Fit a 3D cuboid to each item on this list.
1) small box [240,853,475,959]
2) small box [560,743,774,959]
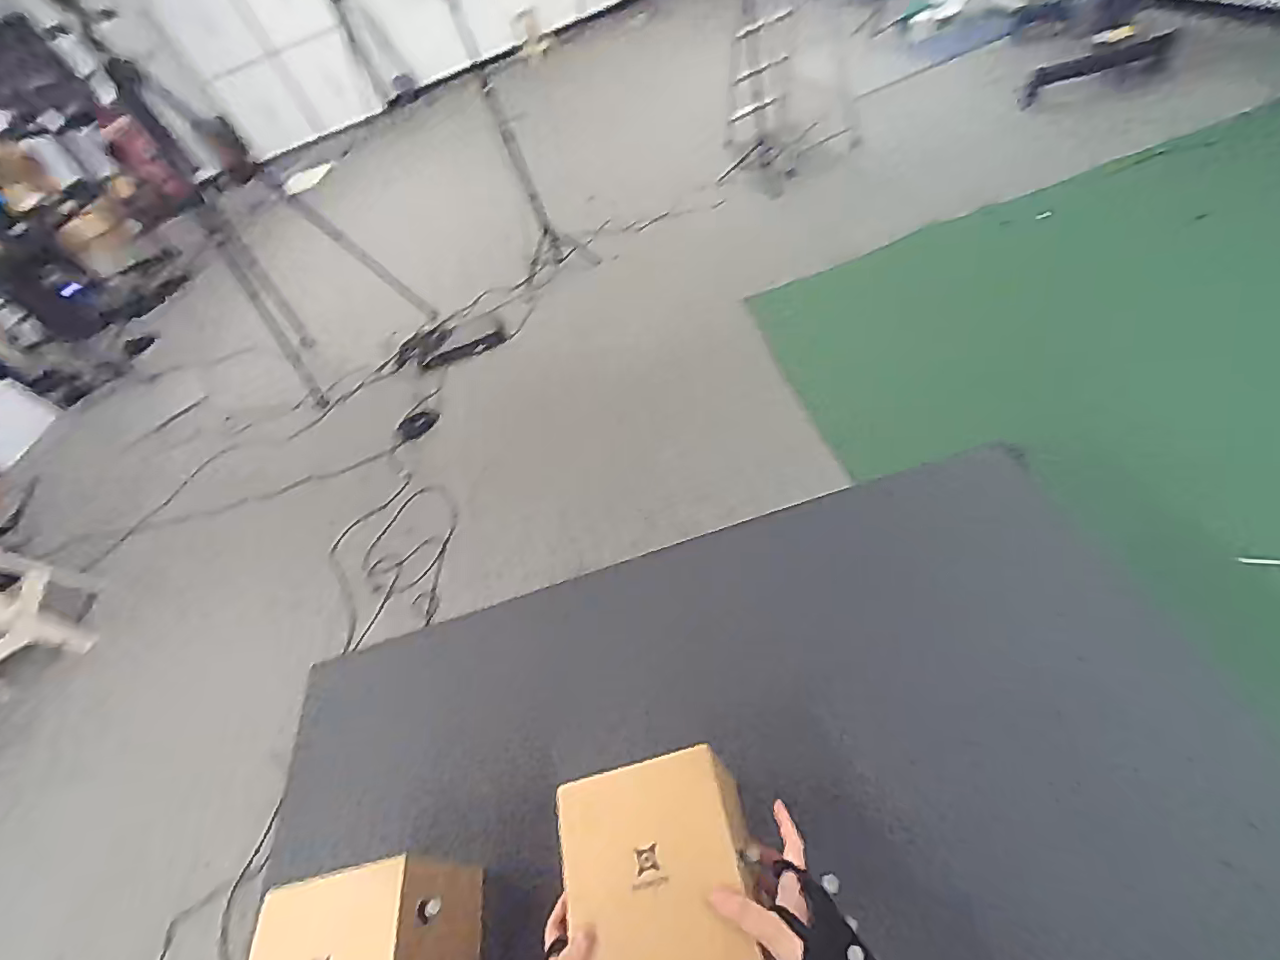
[{"bbox_3d":[-0.284,0.514,0.556,0.168,0.176,0.179,-17,48,4],"label":"small box"},{"bbox_3d":[0.028,0.400,0.553,0.168,0.176,0.179,-18,49,3],"label":"small box"}]
